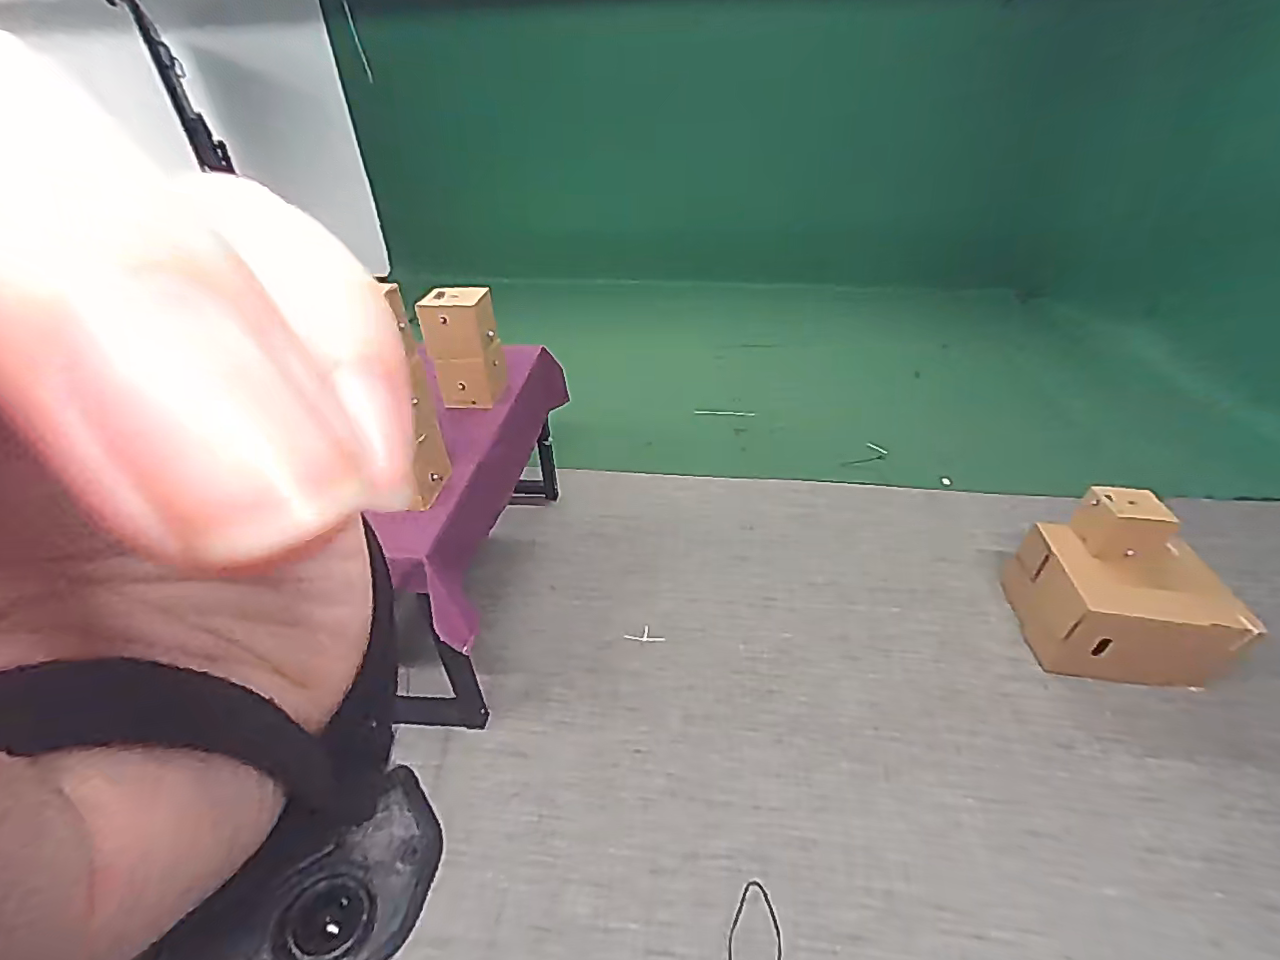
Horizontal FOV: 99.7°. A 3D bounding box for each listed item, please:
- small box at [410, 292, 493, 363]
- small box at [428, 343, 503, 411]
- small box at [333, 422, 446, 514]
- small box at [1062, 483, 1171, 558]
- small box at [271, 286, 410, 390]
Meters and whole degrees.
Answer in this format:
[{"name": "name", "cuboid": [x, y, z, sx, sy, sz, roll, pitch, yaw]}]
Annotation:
[{"name": "small box", "cuboid": [-0.569, -0.468, 1.655, 0.179, 0.176, 0.168, 1, 36, 3]}, {"name": "small box", "cuboid": [-0.556, -0.334, 1.751, 0.168, 0.176, 0.179, 2, 36, 5]}, {"name": "small box", "cuboid": [-0.604, -0.030, 1.329, 0.179, 0.176, 0.168, 2, 35, 4]}, {"name": "small box", "cuboid": [1.522, 0.133, 1.742, 0.179, 0.176, 0.168, 6, 35, 7]}, {"name": "small box", "cuboid": [-0.616, -0.300, 1.143, 0.179, 0.176, 0.168, 2, 35, 6]}]
